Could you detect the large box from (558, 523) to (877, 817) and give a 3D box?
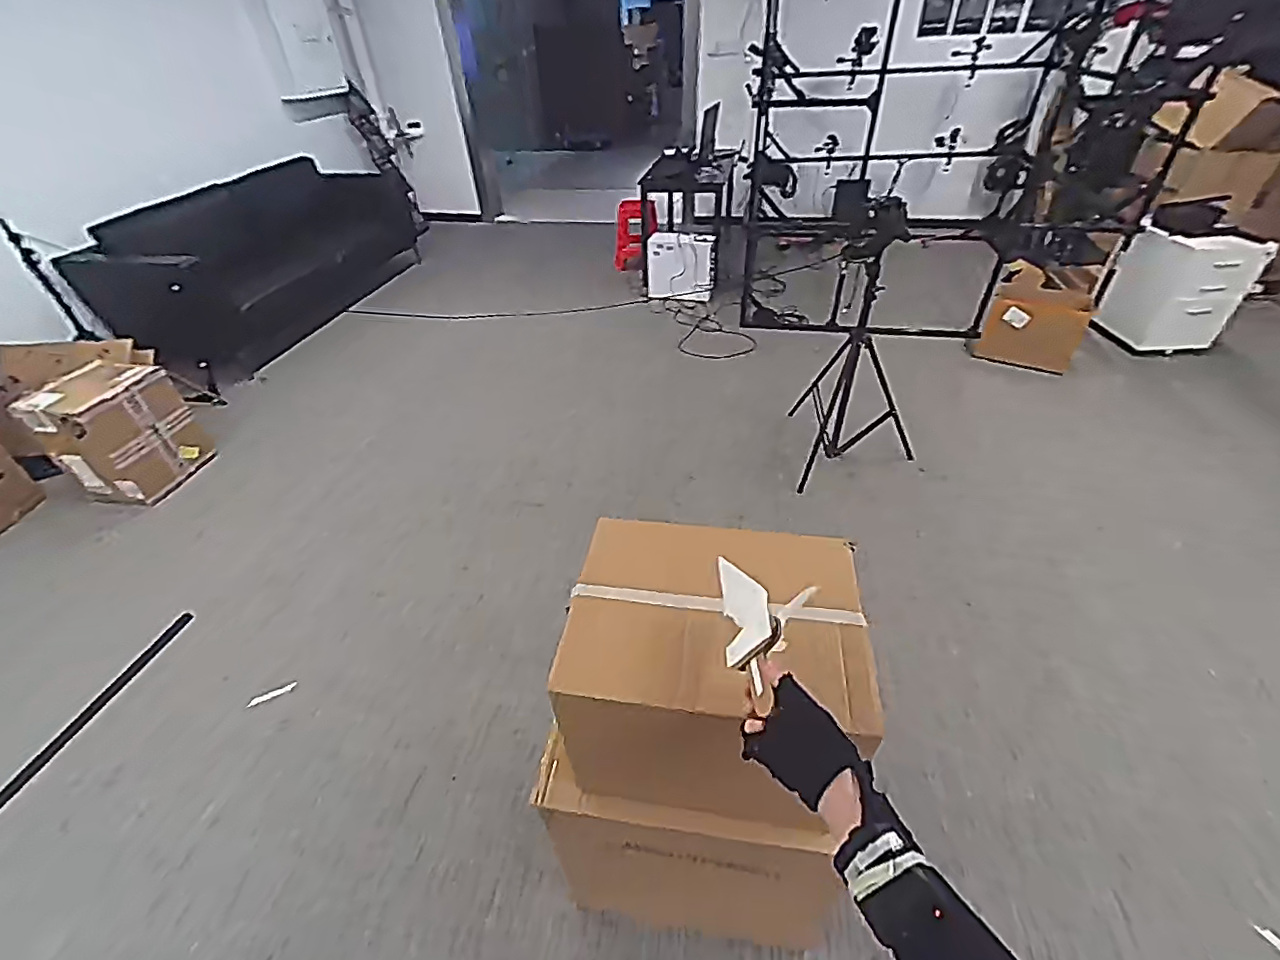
[{"bbox_3d":[0.112,0.298,0.874,0.408,0.320,0.320,5,41,8],"label":"large box"}]
